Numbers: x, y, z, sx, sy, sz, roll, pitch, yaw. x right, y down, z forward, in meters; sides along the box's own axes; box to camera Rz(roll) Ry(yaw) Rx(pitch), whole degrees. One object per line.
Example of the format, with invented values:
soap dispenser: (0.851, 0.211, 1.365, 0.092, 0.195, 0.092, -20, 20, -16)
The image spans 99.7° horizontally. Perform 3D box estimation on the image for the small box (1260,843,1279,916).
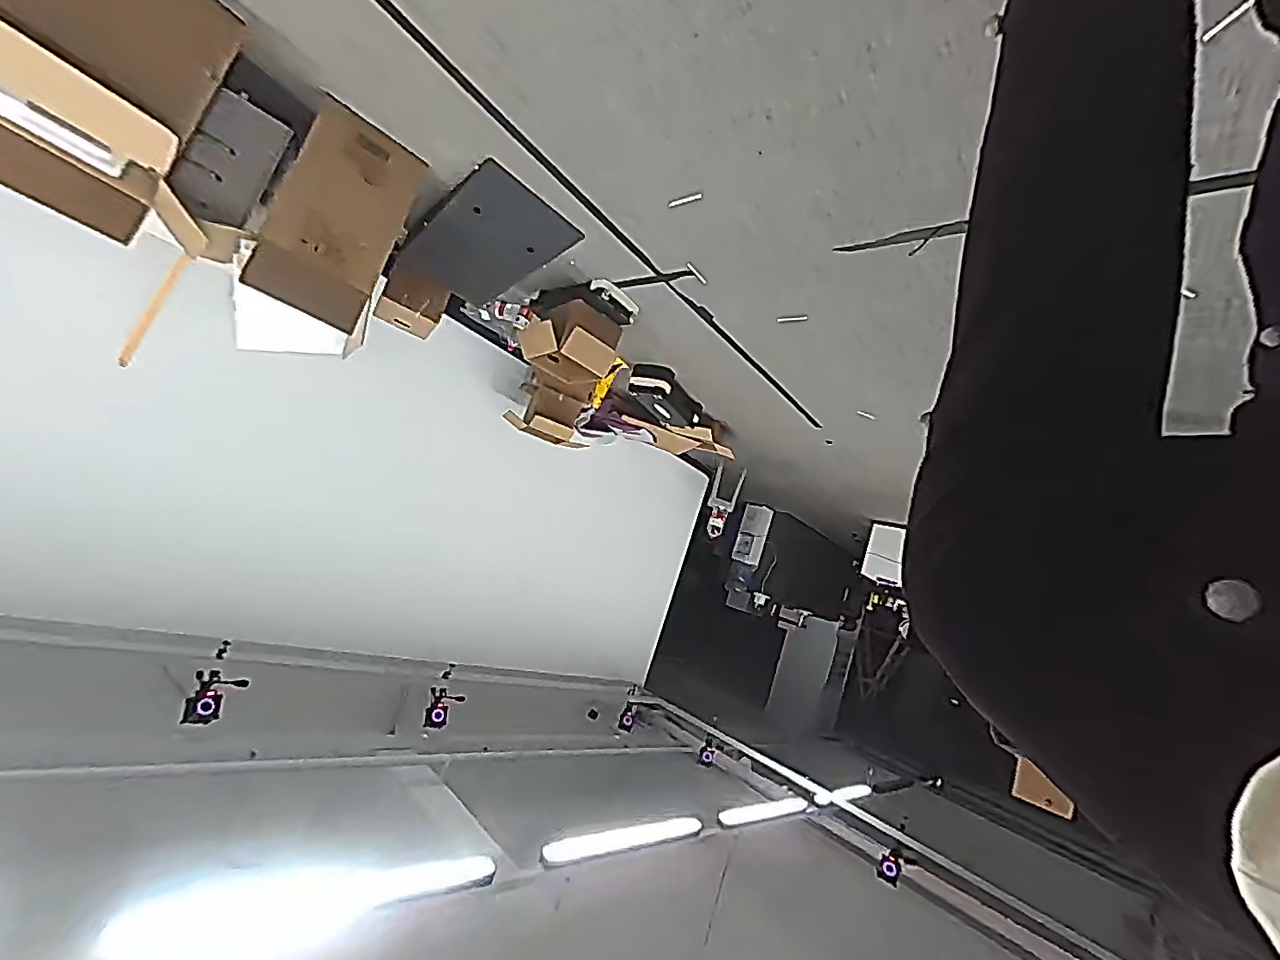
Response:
small box: (1.872, 1.146, 1.500, 0.168, 0.176, 0.179, 11, 170, 43)

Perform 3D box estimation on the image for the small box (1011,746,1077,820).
small box: (1.440, 1.068, 1.925, 0.168, 0.176, 0.179, 10, 169, 40)
